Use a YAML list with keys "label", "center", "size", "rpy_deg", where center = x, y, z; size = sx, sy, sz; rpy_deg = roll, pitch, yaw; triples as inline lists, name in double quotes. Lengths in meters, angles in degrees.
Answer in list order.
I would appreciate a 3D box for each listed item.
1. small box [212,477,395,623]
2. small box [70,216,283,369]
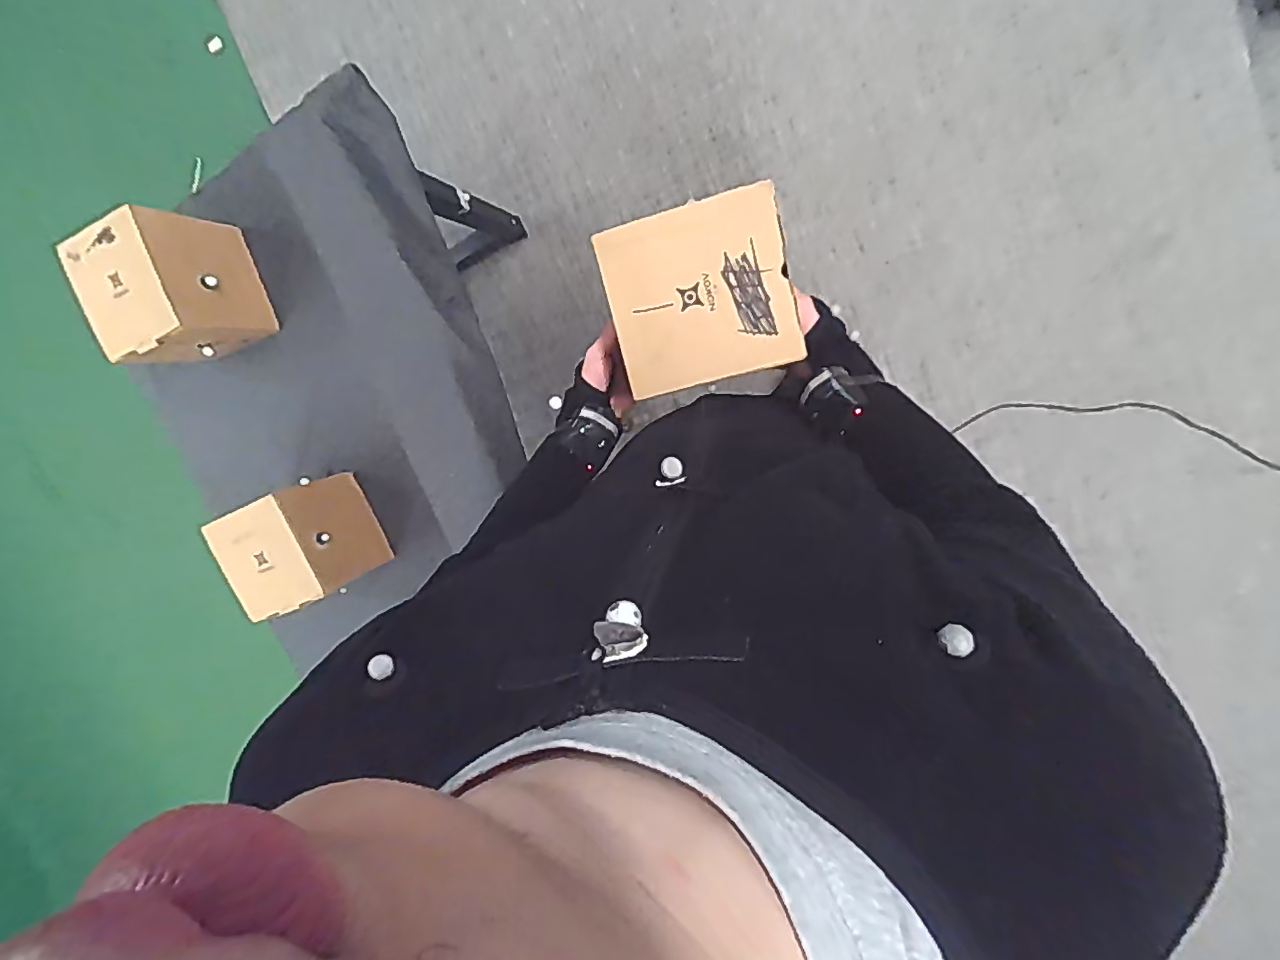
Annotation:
- label: "small box"
  center: [-0.560, 0.112, 0.923]
  size: [0.168, 0.176, 0.179]
  rpy_deg: [-21, 96, 17]
- label: "small box"
  center: [-0.721, -0.289, 0.863]
  size: [0.168, 0.176, 0.179]
  rpy_deg: [-15, 100, 17]
